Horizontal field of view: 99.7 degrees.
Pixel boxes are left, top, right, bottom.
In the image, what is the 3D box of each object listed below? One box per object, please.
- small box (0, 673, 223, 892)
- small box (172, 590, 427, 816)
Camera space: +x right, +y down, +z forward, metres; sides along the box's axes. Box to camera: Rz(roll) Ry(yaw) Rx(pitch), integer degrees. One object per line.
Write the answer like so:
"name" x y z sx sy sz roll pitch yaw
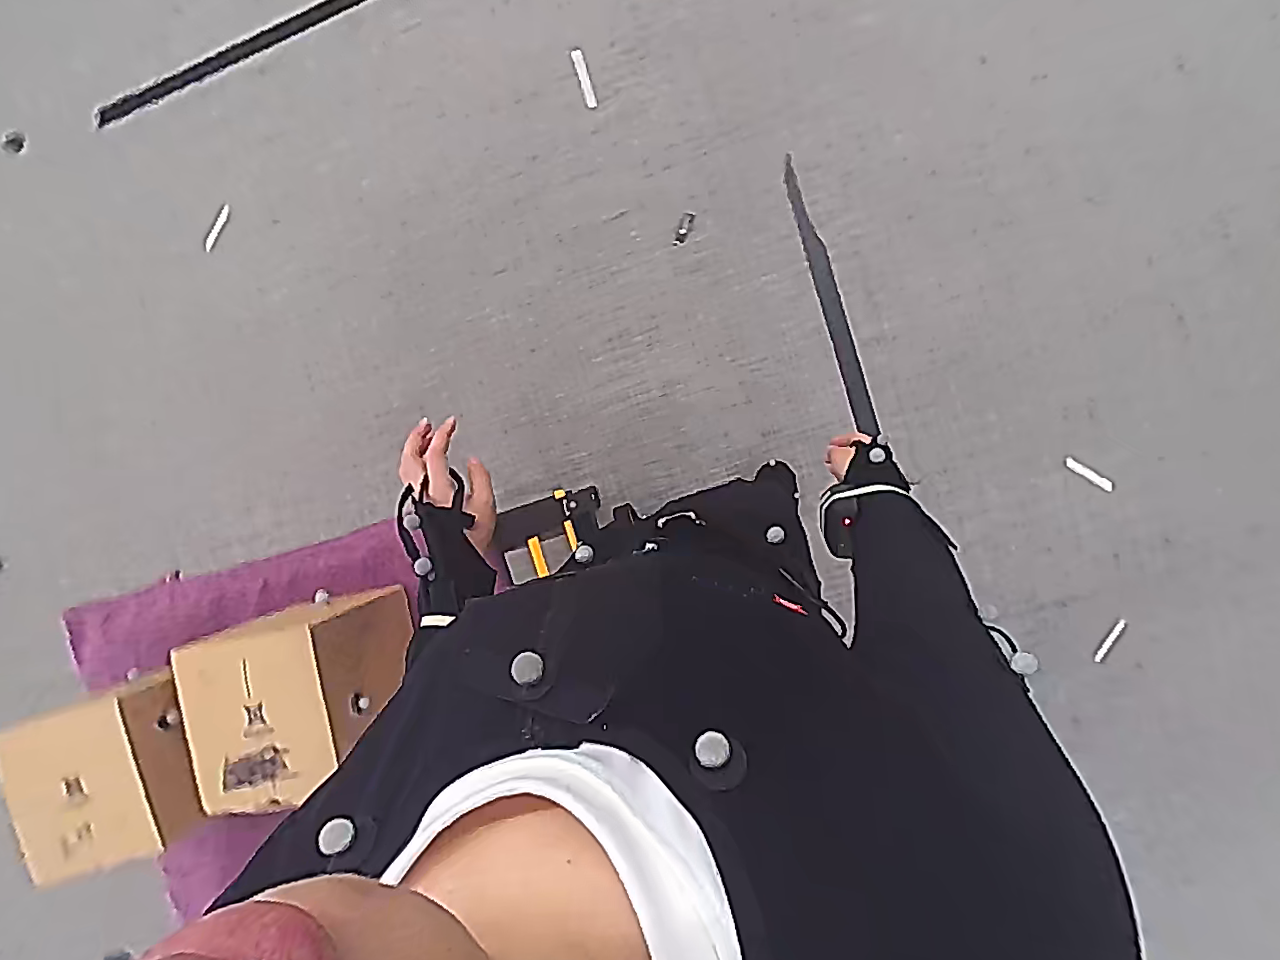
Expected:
"small box" -0.588 0.335 0.653 0.168 0.176 0.179 -18 90 6
"small box" -0.373 0.243 0.624 0.168 0.176 0.179 -12 91 8
